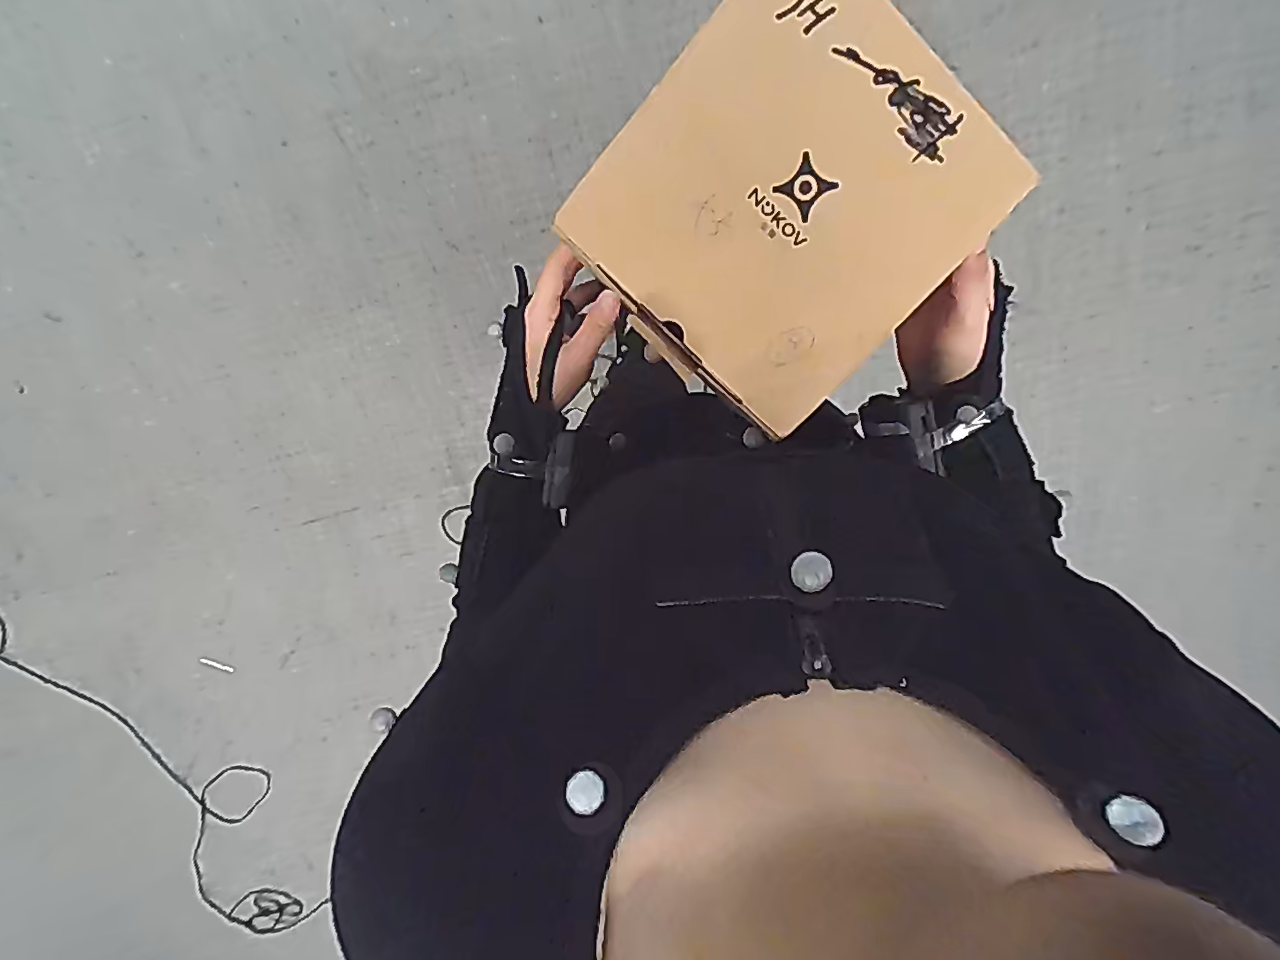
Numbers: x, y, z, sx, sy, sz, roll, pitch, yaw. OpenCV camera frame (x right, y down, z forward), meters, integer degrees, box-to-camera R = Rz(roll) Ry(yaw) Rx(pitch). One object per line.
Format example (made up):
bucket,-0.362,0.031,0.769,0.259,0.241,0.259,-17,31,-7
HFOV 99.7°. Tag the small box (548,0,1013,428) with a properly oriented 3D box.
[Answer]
small box,0.072,-0.159,0.349,0.168,0.176,0.179,42,102,-7
